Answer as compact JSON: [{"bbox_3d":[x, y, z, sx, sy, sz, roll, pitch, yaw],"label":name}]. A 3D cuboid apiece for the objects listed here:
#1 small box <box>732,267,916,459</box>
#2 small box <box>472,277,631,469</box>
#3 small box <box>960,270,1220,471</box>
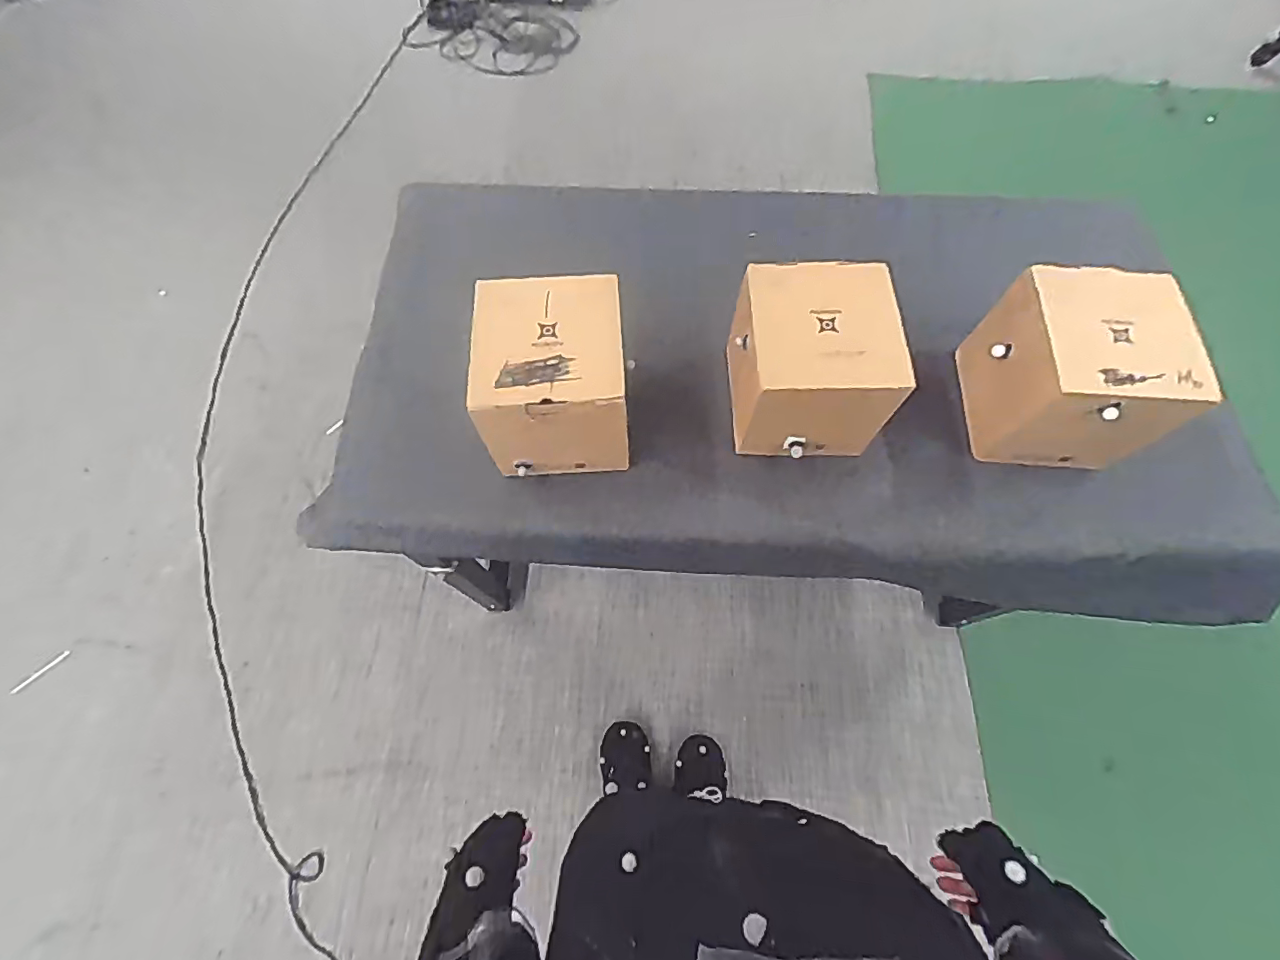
[{"bbox_3d":[0.212,-0.141,0.680,0.168,0.176,0.179,-1,67,1],"label":"small box"},{"bbox_3d":[-0.097,-0.121,0.668,0.168,0.176,0.179,-3,65,-1],"label":"small box"},{"bbox_3d":[0.528,-0.130,0.670,0.168,0.176,0.179,4,66,3],"label":"small box"}]
